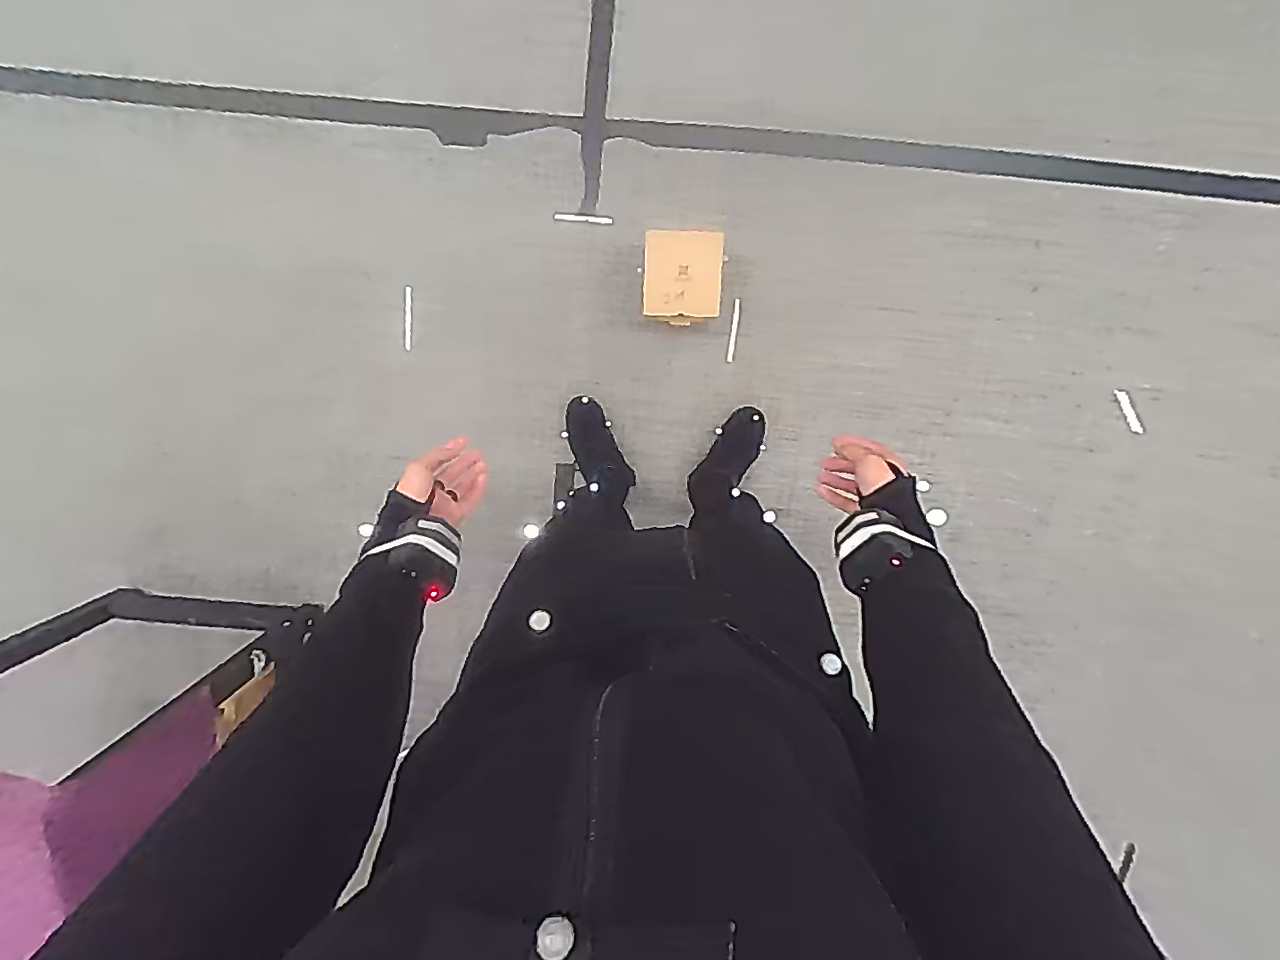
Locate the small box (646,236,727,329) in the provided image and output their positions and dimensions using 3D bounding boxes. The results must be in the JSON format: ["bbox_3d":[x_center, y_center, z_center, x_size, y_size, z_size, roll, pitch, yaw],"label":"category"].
[{"bbox_3d":[0.098,-0.438,1.223,0.168,0.176,0.179,3,104,1],"label":"small box"}]
